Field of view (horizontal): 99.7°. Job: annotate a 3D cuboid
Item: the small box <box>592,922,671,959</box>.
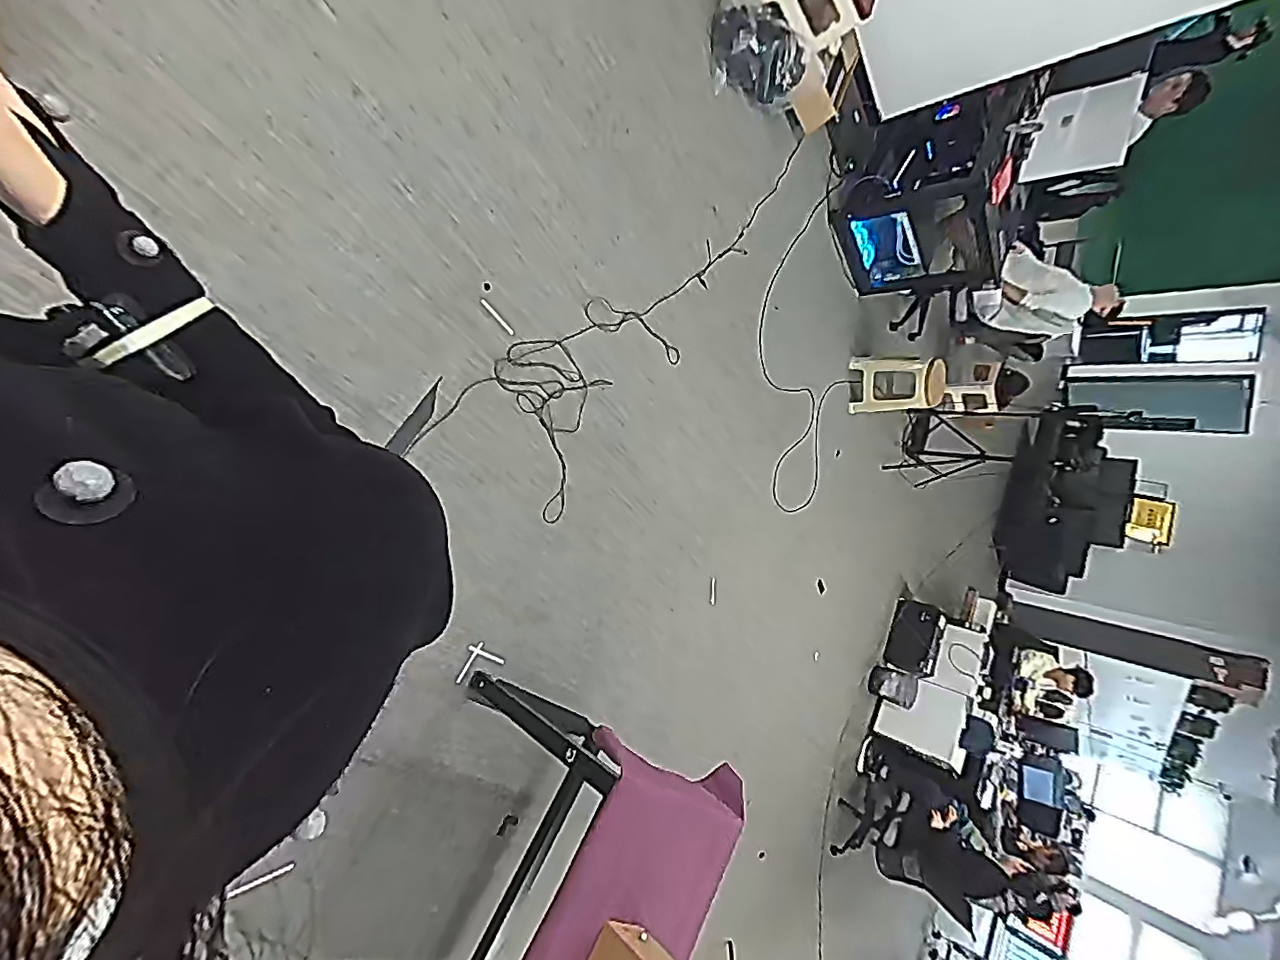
[{"bbox_3d":[-0.016,1.120,1.175,0.168,0.176,0.179,50,62,-38],"label":"small box"}]
